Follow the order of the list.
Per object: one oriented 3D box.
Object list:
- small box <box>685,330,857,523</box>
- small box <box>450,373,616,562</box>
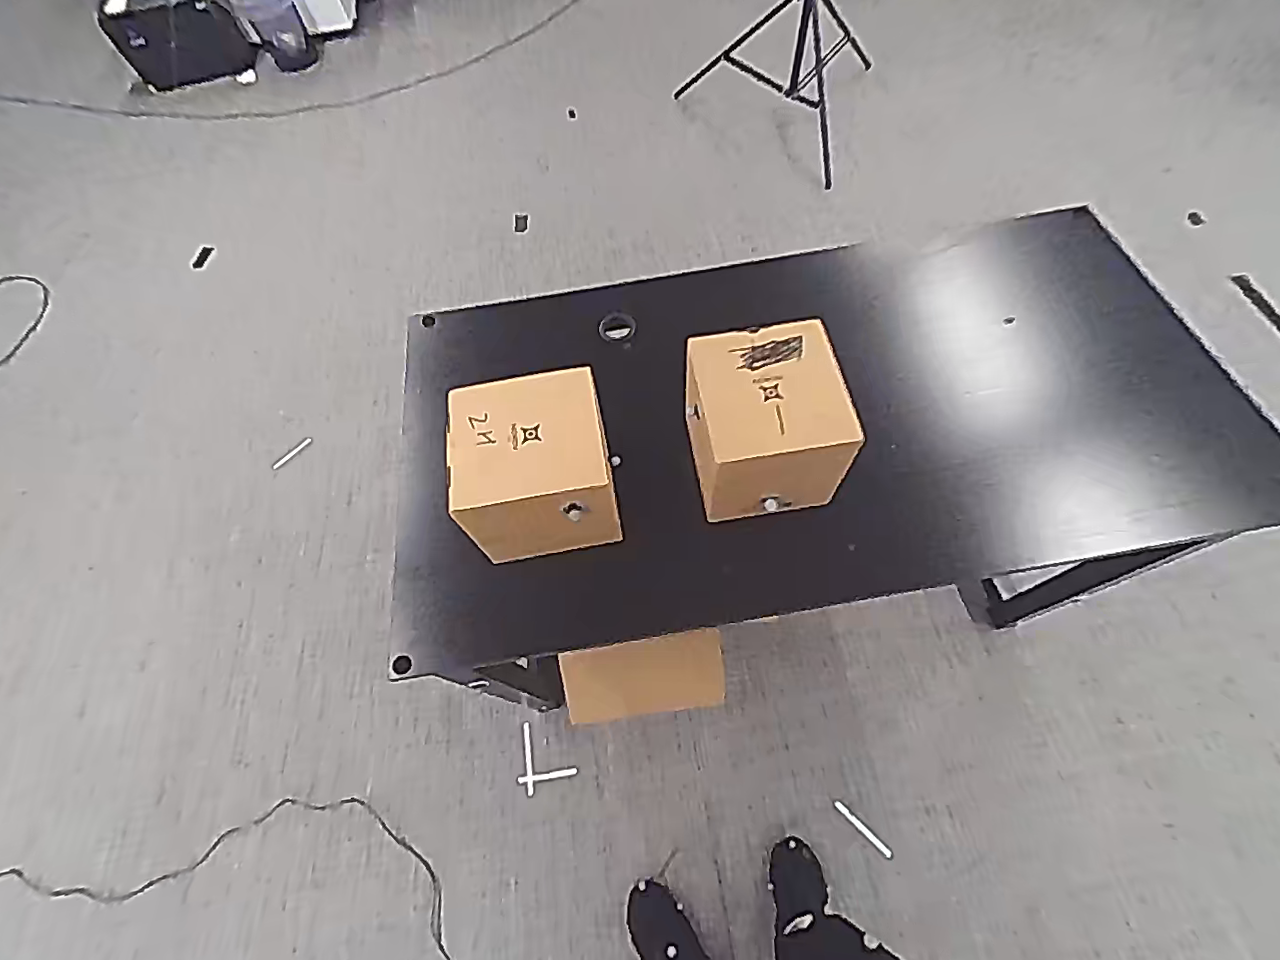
[{"bbox_3d":[0.152,-0.064,0.701,0.168,0.176,0.179,-9,63,0],"label":"small box"},{"bbox_3d":[-0.128,-0.009,0.691,0.179,0.176,0.168,-10,62,-2],"label":"small box"}]
